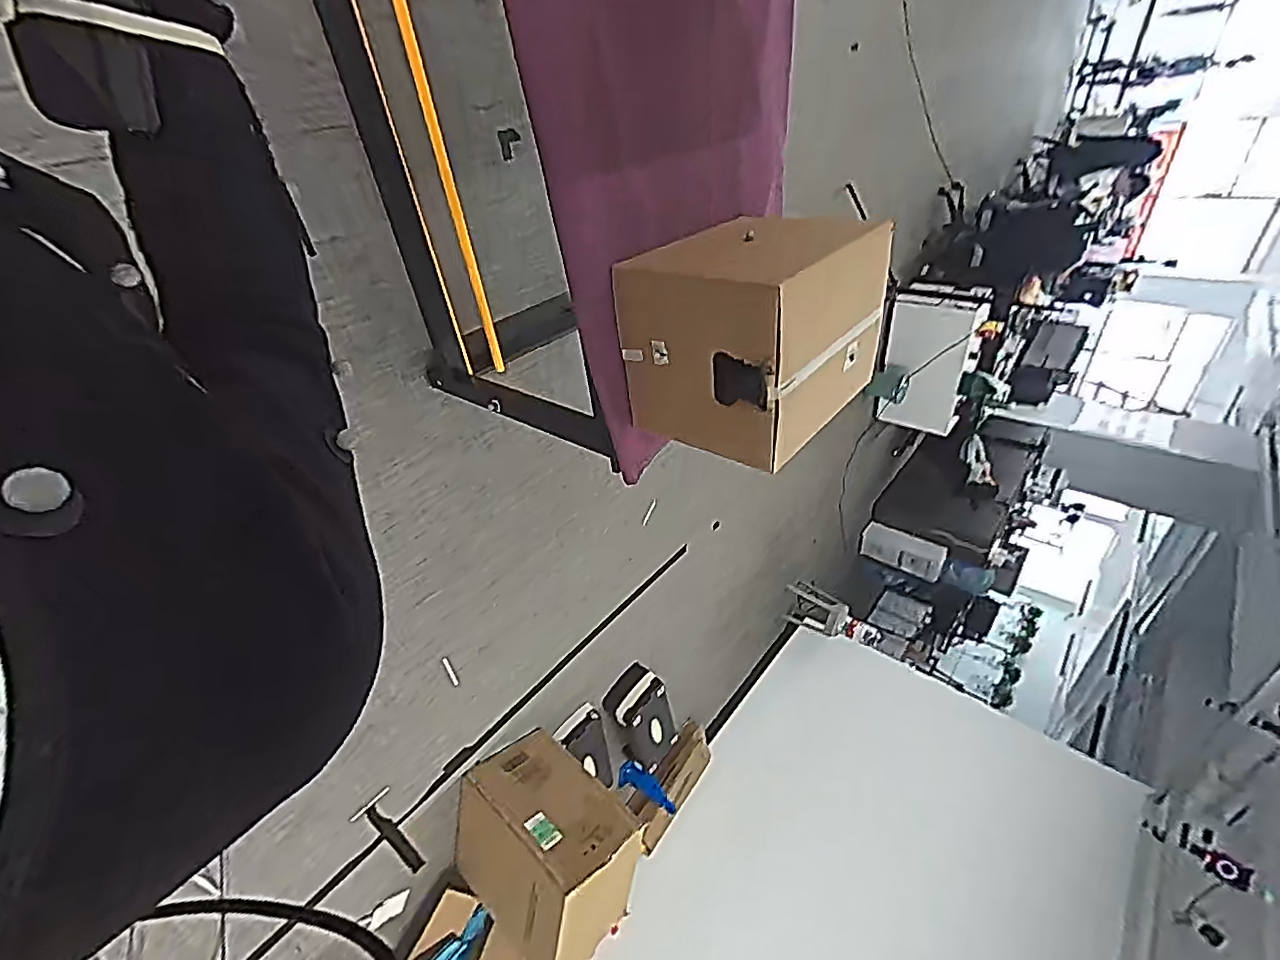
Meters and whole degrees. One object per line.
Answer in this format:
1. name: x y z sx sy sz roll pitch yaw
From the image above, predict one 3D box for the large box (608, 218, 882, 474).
1. large box: 0.200 -0.274 1.000 0.408 0.320 0.320 -38 136 -36
